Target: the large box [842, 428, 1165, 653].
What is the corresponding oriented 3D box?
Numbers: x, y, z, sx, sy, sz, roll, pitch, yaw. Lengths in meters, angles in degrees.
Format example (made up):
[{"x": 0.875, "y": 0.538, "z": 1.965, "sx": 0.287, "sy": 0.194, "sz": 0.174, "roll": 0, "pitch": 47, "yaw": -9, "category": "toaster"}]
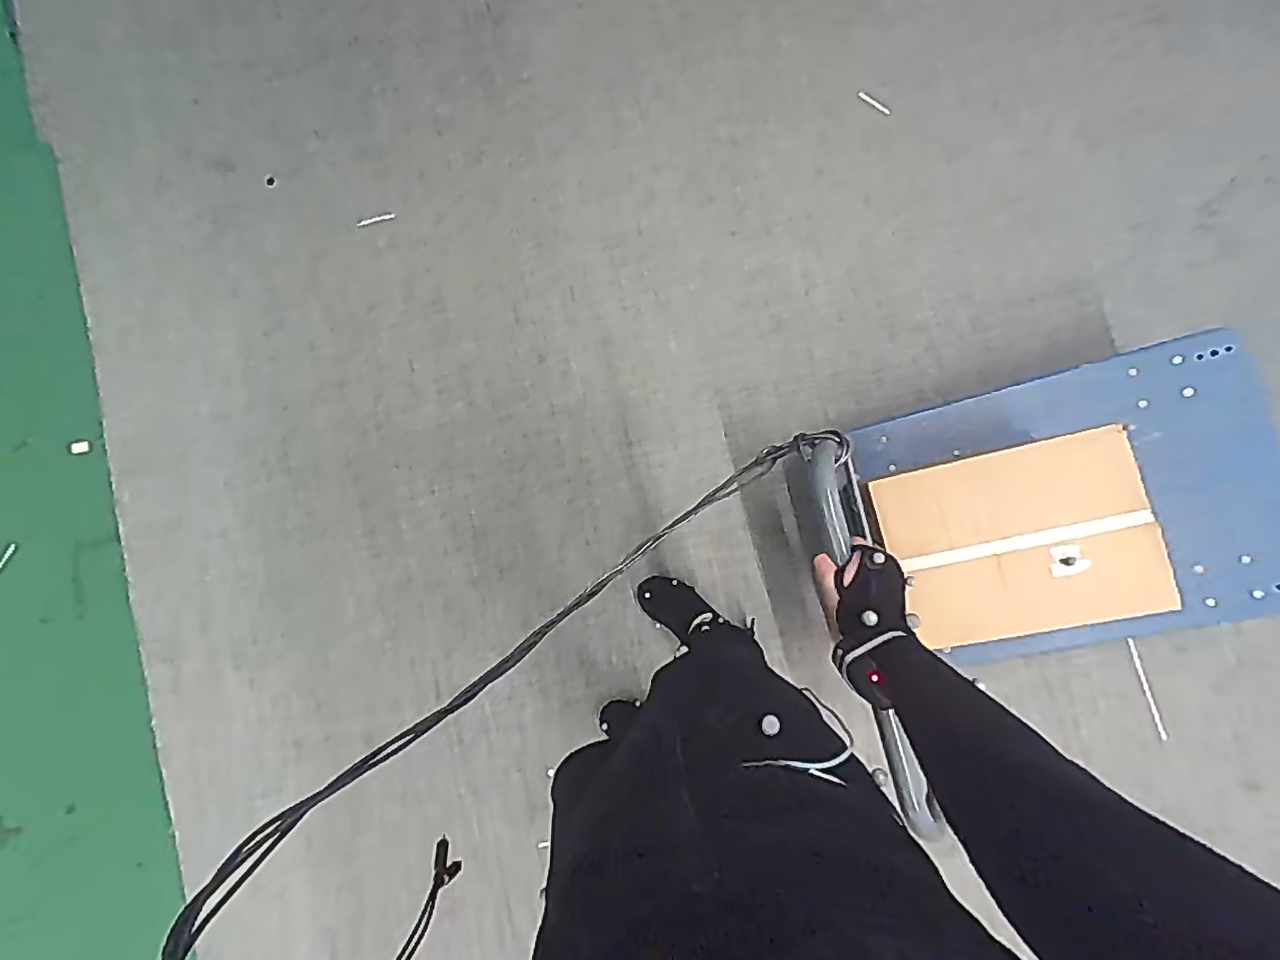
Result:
[{"x": 0.661, "y": 0.115, "z": 1.072, "sx": 0.408, "sy": 0.320, "sz": 0.320, "roll": -15, "pitch": 86, "yaw": 13, "category": "large box"}]
